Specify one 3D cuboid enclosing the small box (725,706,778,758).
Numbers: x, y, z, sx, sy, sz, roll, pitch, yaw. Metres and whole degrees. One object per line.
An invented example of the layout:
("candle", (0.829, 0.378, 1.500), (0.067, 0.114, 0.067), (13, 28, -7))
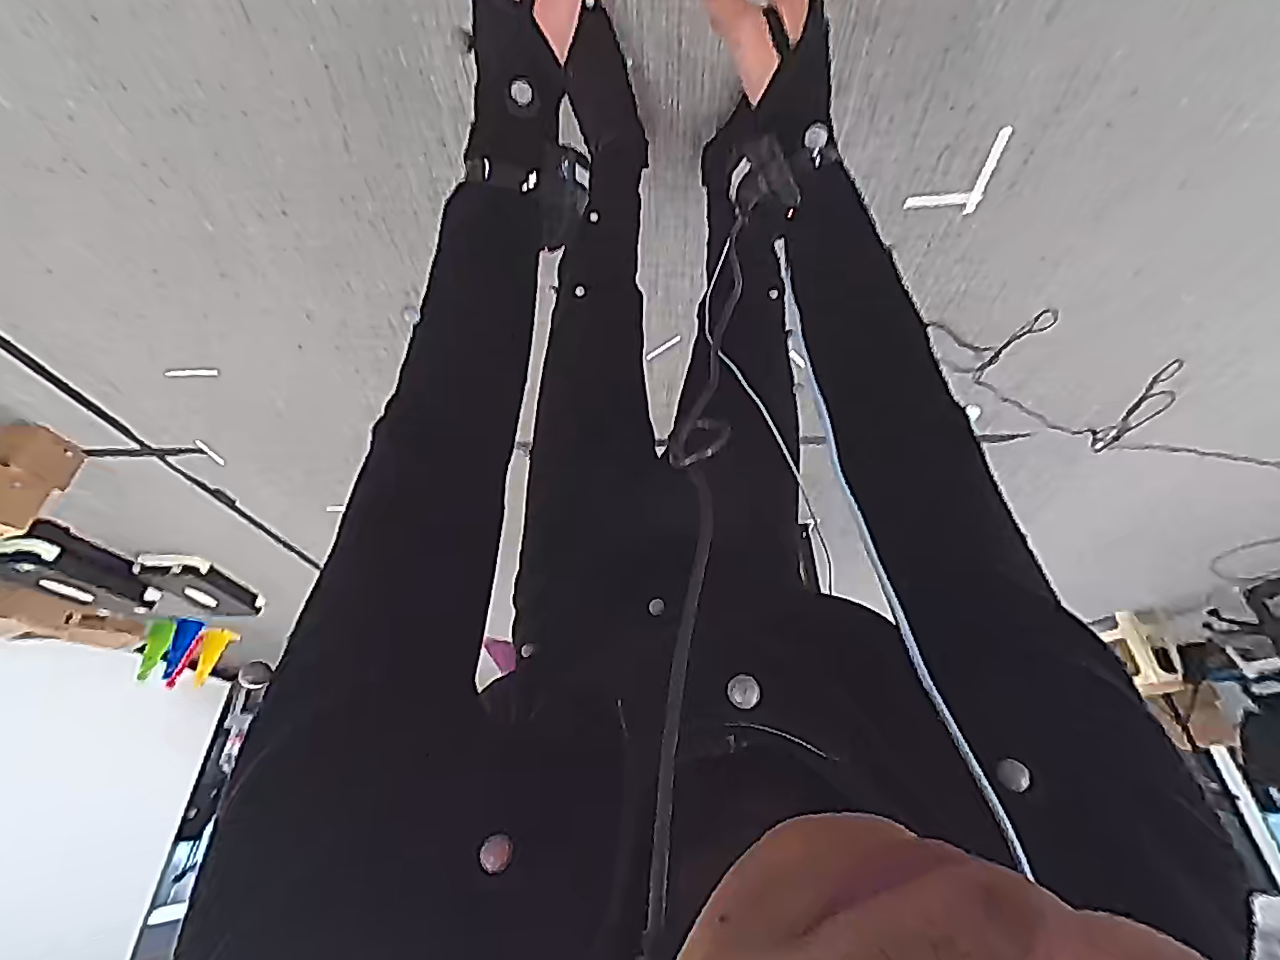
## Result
("small box", (0.435, 1.001, 2.145), (0.168, 0.176, 0.179), (0, 148, -2))
